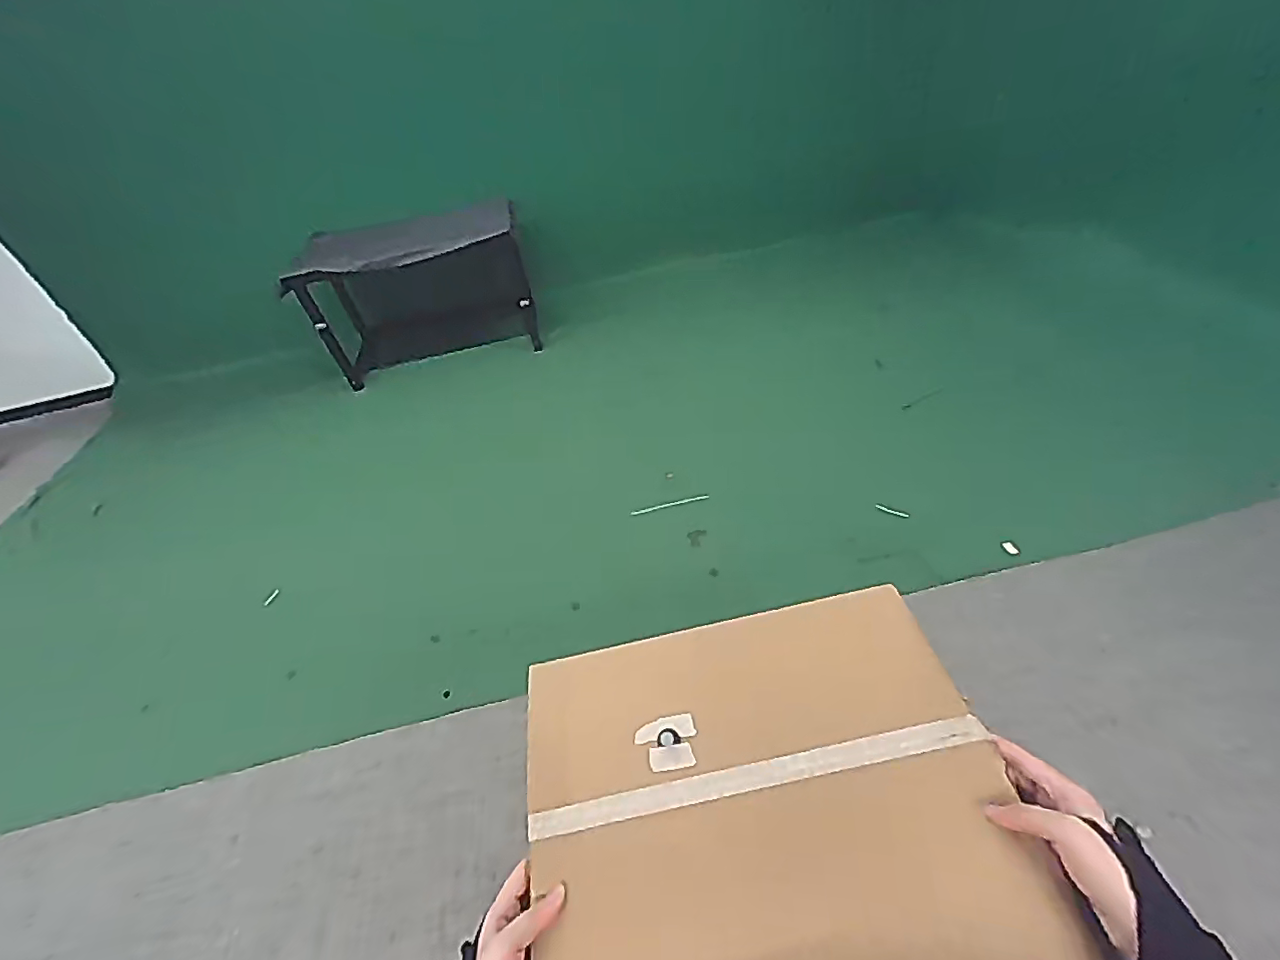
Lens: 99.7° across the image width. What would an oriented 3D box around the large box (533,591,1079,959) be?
[{"bbox_3d":[0.129,0.375,0.594,0.408,0.320,0.320,-15,45,3],"label":"large box"}]
